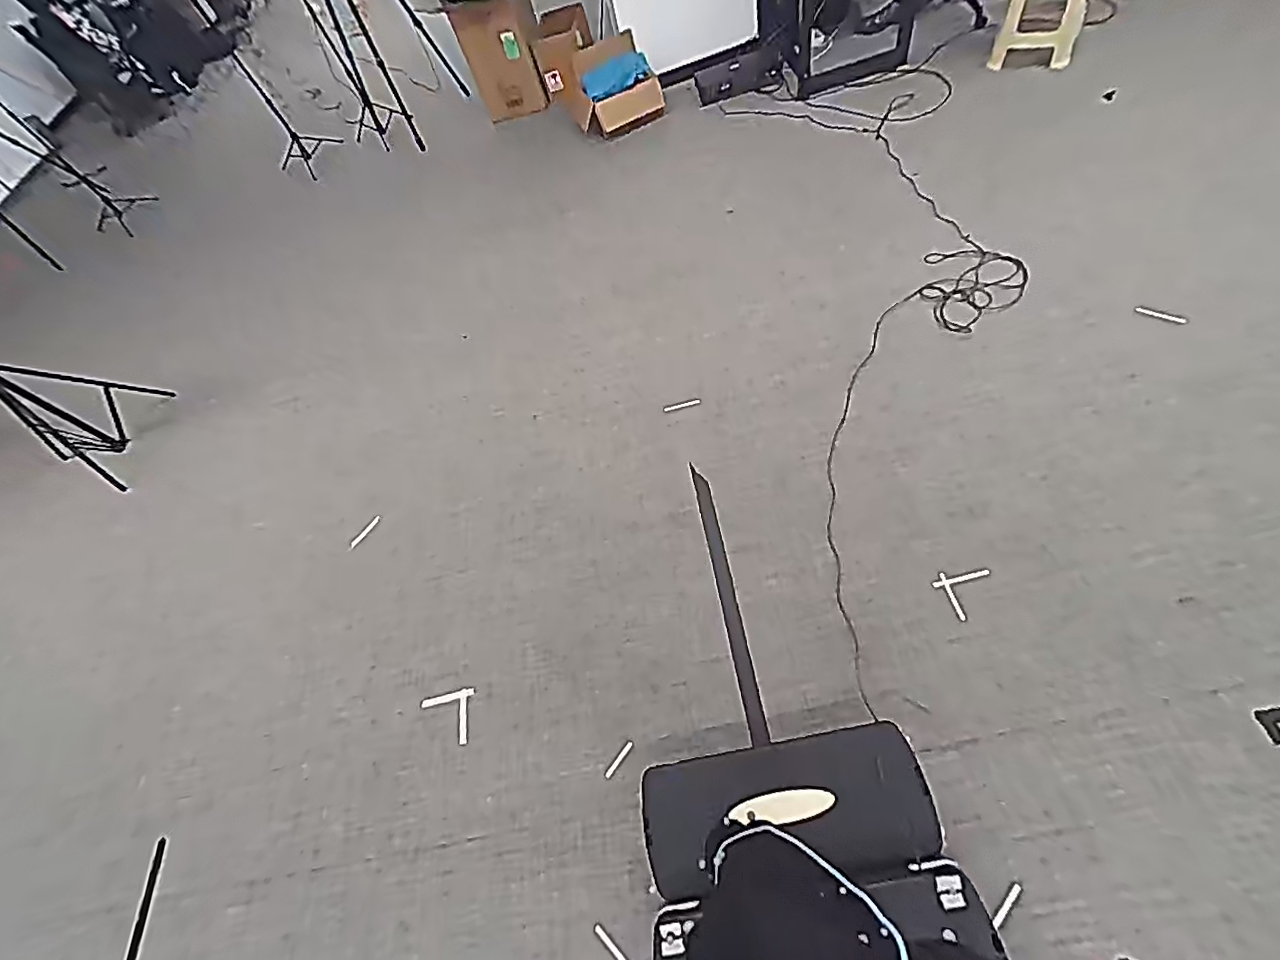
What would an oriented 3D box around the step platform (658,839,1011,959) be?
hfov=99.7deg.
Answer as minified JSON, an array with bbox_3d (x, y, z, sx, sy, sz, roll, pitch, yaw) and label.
[{"bbox_3d":[0.380,0.972,1.120,0.684,0.204,0.286,-16,56,7],"label":"step platform"}]
